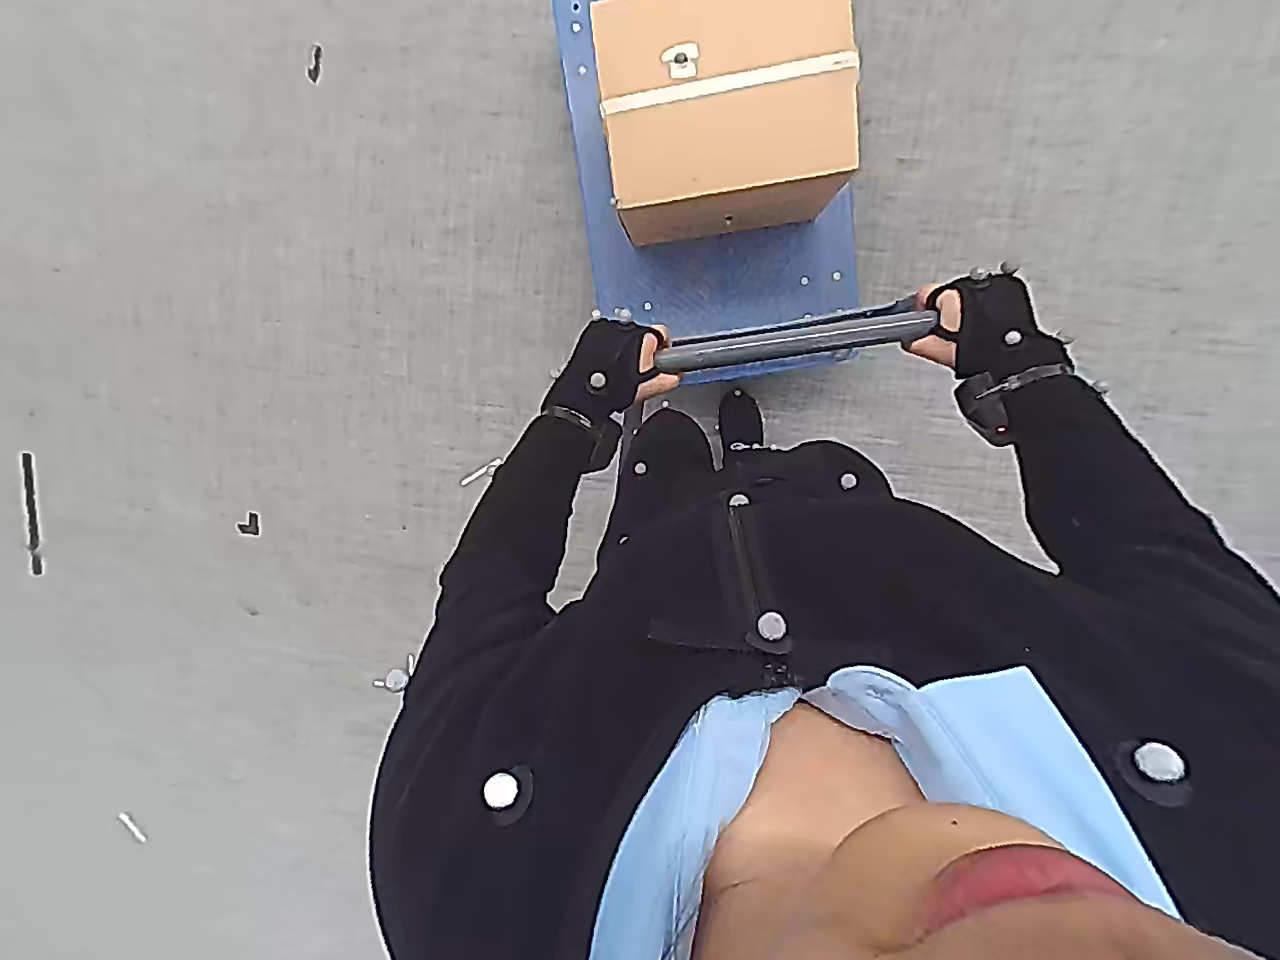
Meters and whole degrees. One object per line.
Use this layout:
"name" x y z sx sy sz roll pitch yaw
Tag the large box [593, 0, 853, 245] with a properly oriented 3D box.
"large box" 0.154 -0.674 1.039 0.408 0.320 0.320 -7 100 7
